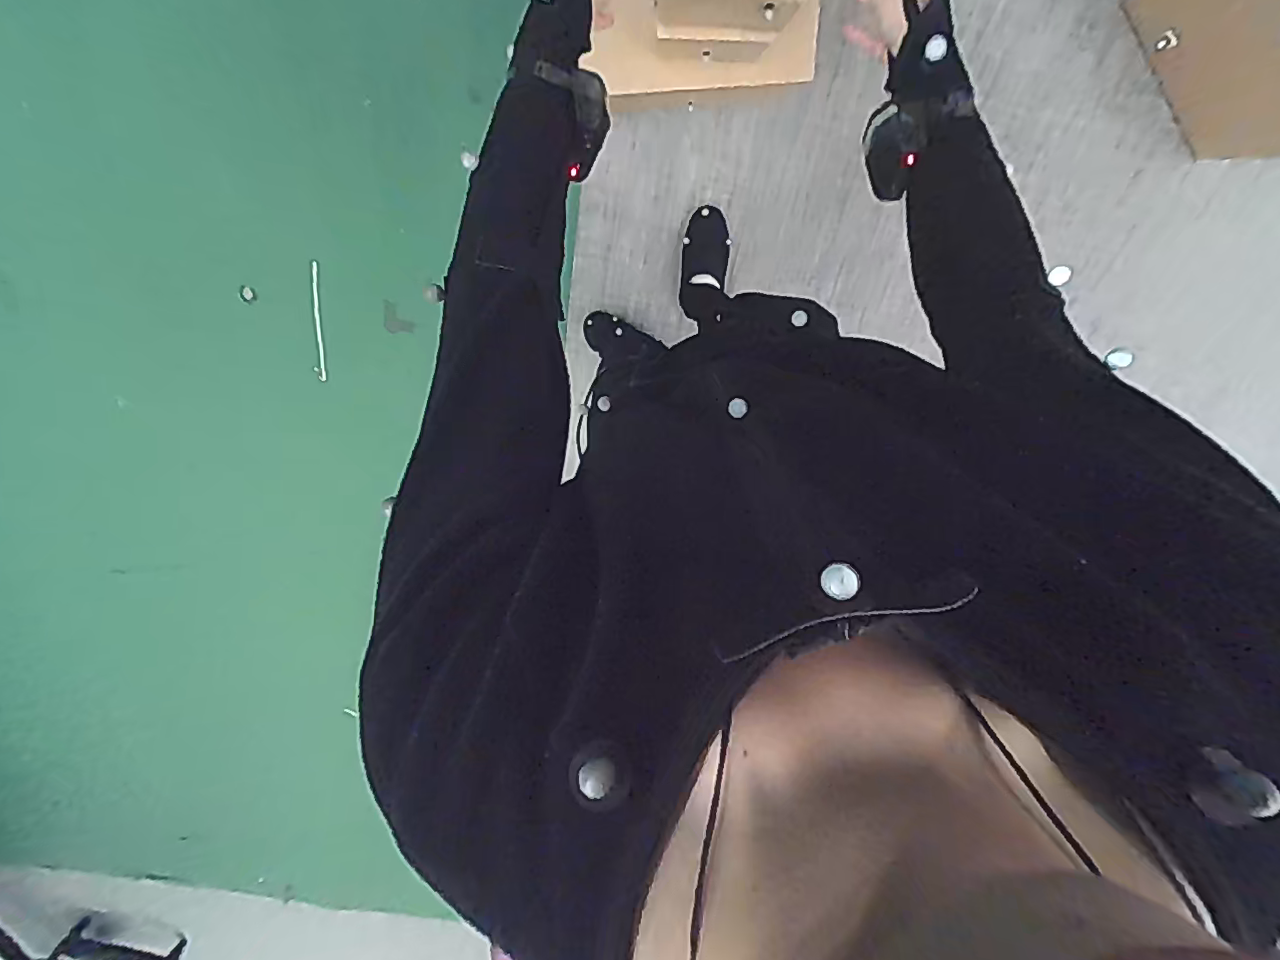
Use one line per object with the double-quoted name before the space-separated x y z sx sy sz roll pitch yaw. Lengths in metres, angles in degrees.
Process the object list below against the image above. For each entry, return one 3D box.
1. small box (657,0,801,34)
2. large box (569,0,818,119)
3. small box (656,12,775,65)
"small box" 0.111 -0.647 0.629 0.179 0.176 0.168 4 119 -1
"large box" 0.090 -0.862 0.977 0.408 0.320 0.320 -1 117 4
"small box" 0.111 -0.718 0.775 0.168 0.176 0.179 3 119 -1
